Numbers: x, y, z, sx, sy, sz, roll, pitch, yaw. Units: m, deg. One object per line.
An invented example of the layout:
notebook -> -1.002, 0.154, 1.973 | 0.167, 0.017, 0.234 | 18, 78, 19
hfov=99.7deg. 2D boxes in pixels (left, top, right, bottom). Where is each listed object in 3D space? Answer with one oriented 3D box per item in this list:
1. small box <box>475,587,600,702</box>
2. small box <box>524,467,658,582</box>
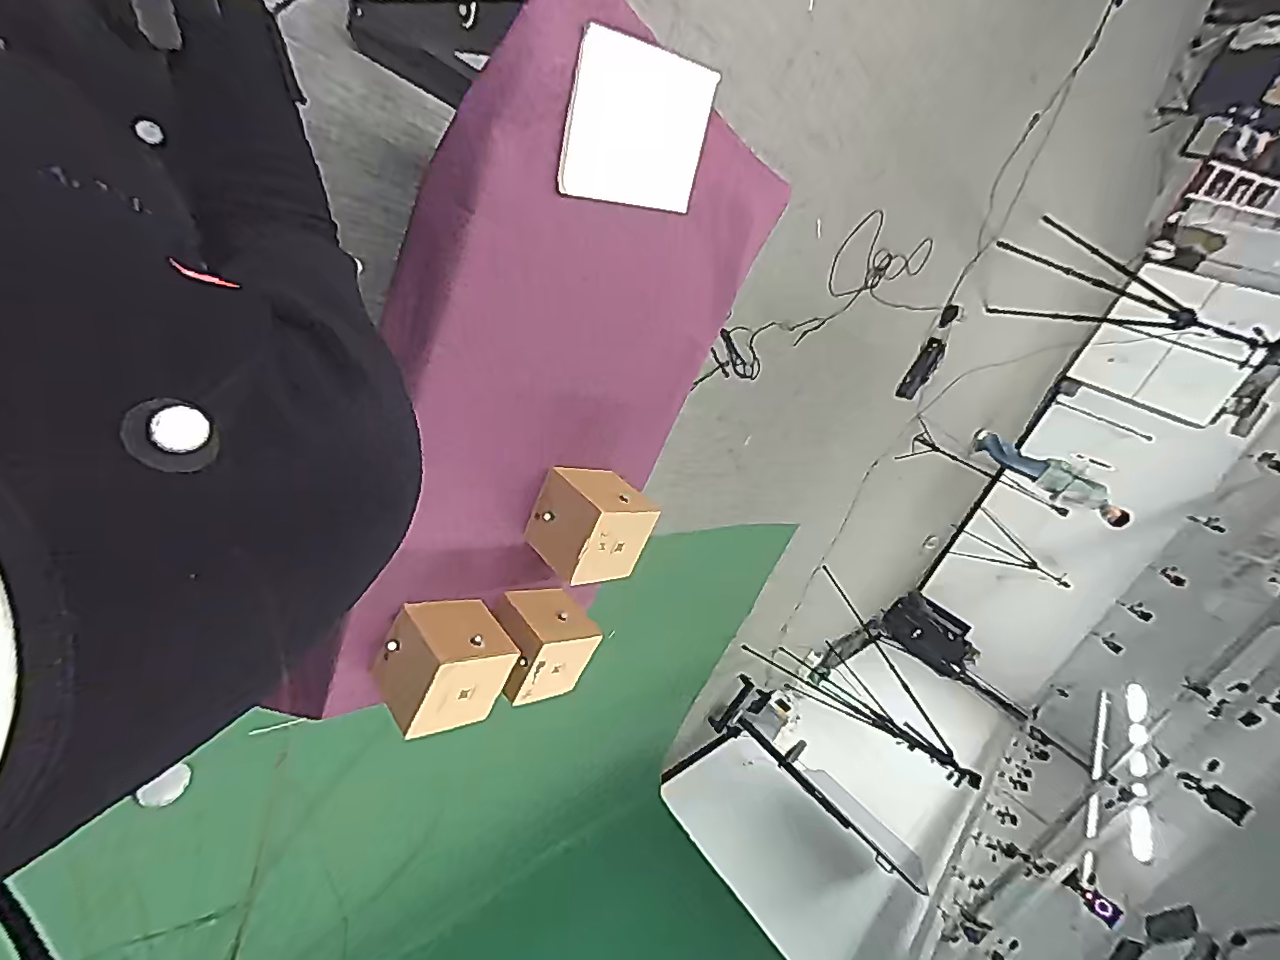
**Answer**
small box -> -0.229, 0.353, 1.200 | 0.179, 0.176, 0.168 | 10, 113, -52
small box -> -0.102, 0.085, 1.102 | 0.179, 0.176, 0.168 | 3, 118, -49
